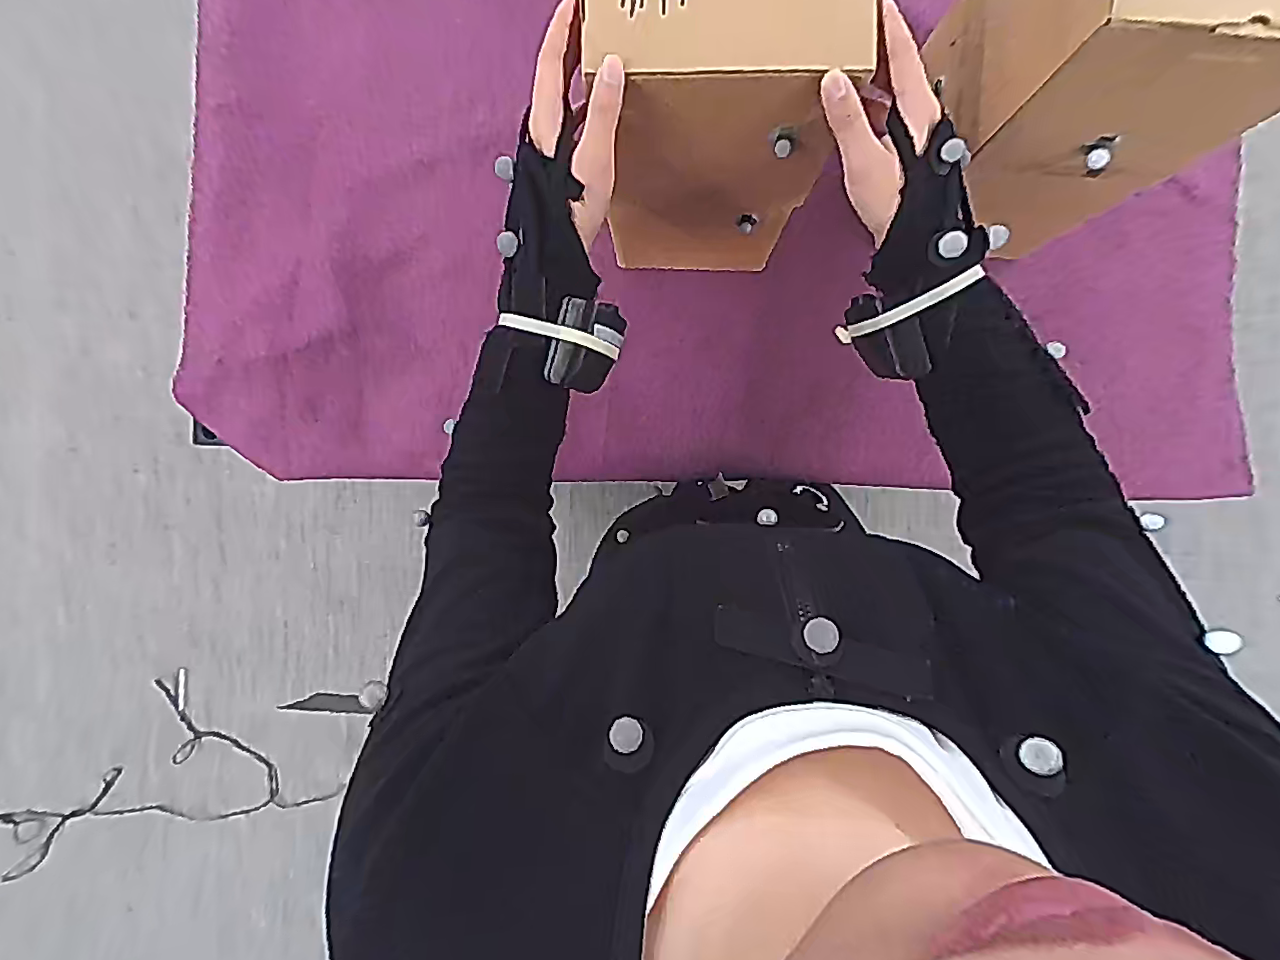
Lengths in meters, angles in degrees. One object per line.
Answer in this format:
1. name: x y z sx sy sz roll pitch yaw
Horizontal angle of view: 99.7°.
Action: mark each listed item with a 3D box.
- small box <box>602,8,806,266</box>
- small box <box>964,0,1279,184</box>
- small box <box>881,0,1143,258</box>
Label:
1. small box: 0.059 -0.333 0.557 0.179 0.176 0.168 2 91 2
2. small box: 0.358 -0.343 0.378 0.168 0.176 0.179 5 92 3
3. small box: 0.362 -0.348 0.543 0.168 0.176 0.179 6 92 2
